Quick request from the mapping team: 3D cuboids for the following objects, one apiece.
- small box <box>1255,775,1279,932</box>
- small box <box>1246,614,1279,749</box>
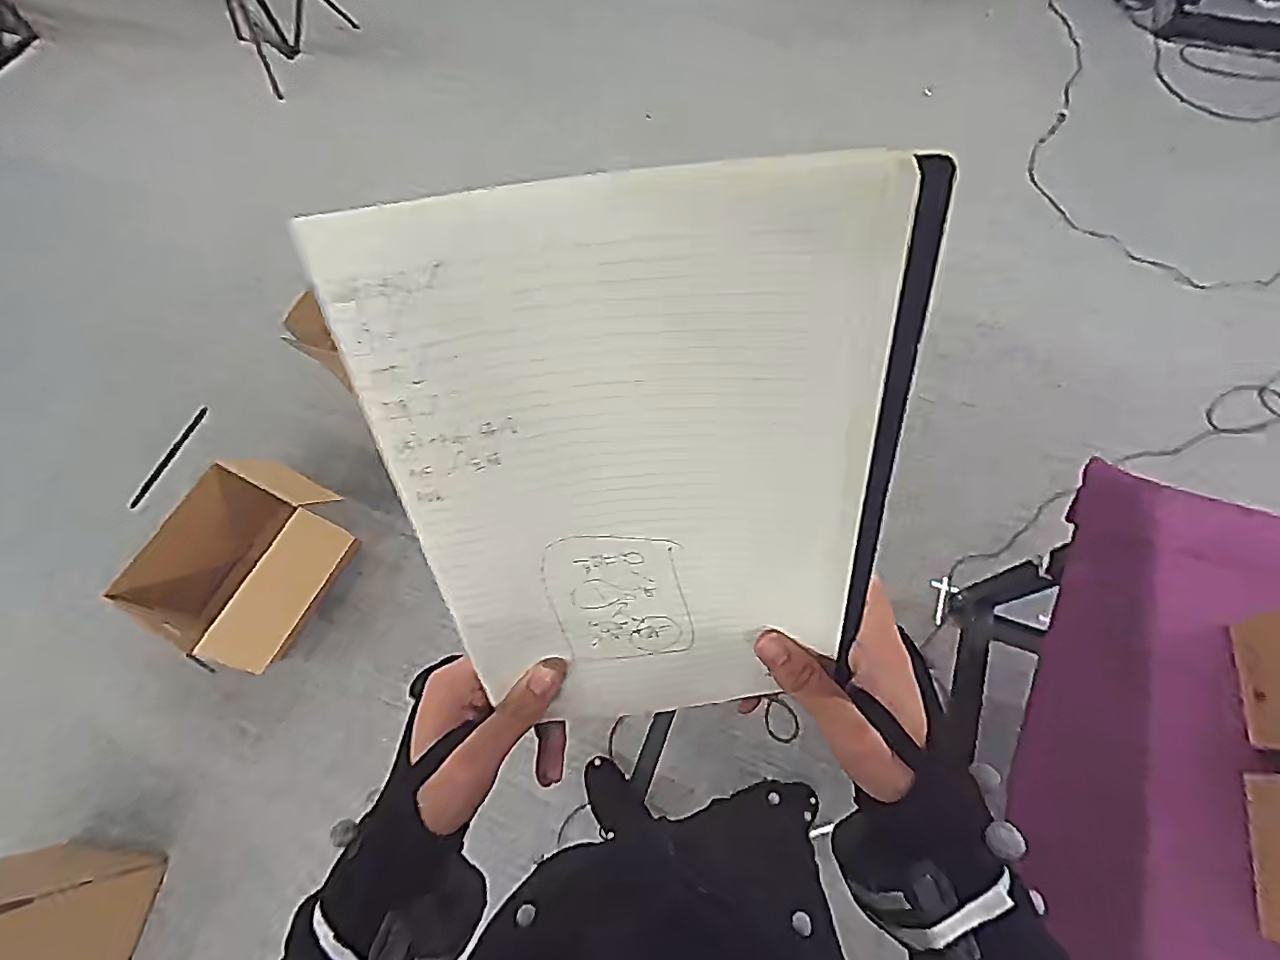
[{"bbox_3d":[0.809,0.427,0.559,0.168,0.176,0.179,14,69,10],"label":"small box"},{"bbox_3d":[0.880,0.249,0.632,0.179,0.176,0.168,11,69,8],"label":"small box"}]
